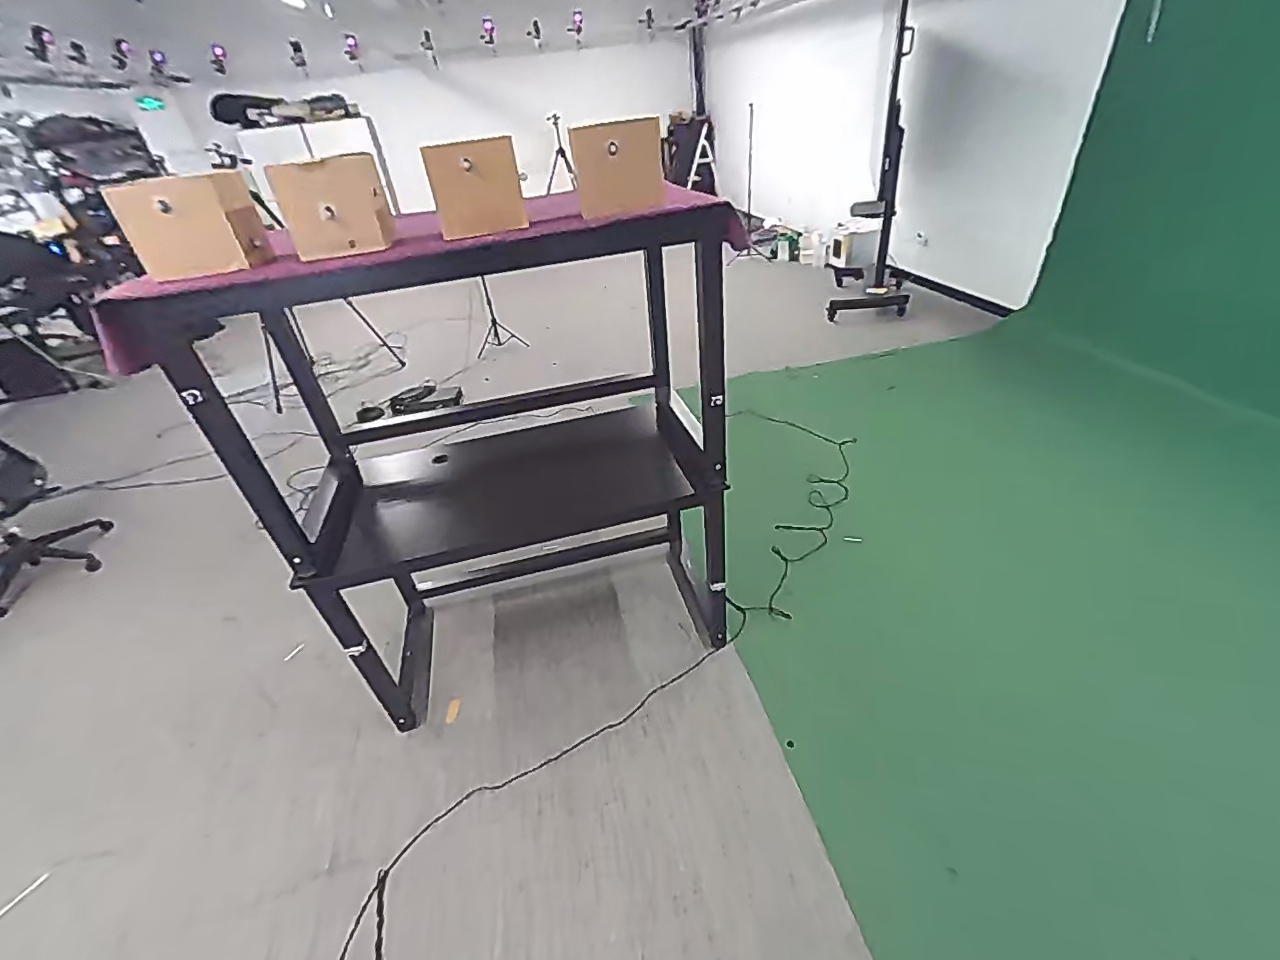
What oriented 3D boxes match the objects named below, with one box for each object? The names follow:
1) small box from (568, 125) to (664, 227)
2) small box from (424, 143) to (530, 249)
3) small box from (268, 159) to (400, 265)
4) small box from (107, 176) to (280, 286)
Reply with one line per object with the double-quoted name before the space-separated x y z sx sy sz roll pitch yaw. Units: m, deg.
"small box" -0.052 -0.657 1.170 0.179 0.176 0.168 -10 35 -4
"small box" -0.332 -0.600 1.139 0.179 0.176 0.168 -13 33 -6
"small box" -0.606 -0.544 1.100 0.168 0.176 0.179 -12 34 -8
"small box" -0.859 -0.490 1.063 0.179 0.176 0.168 -12 34 -9
